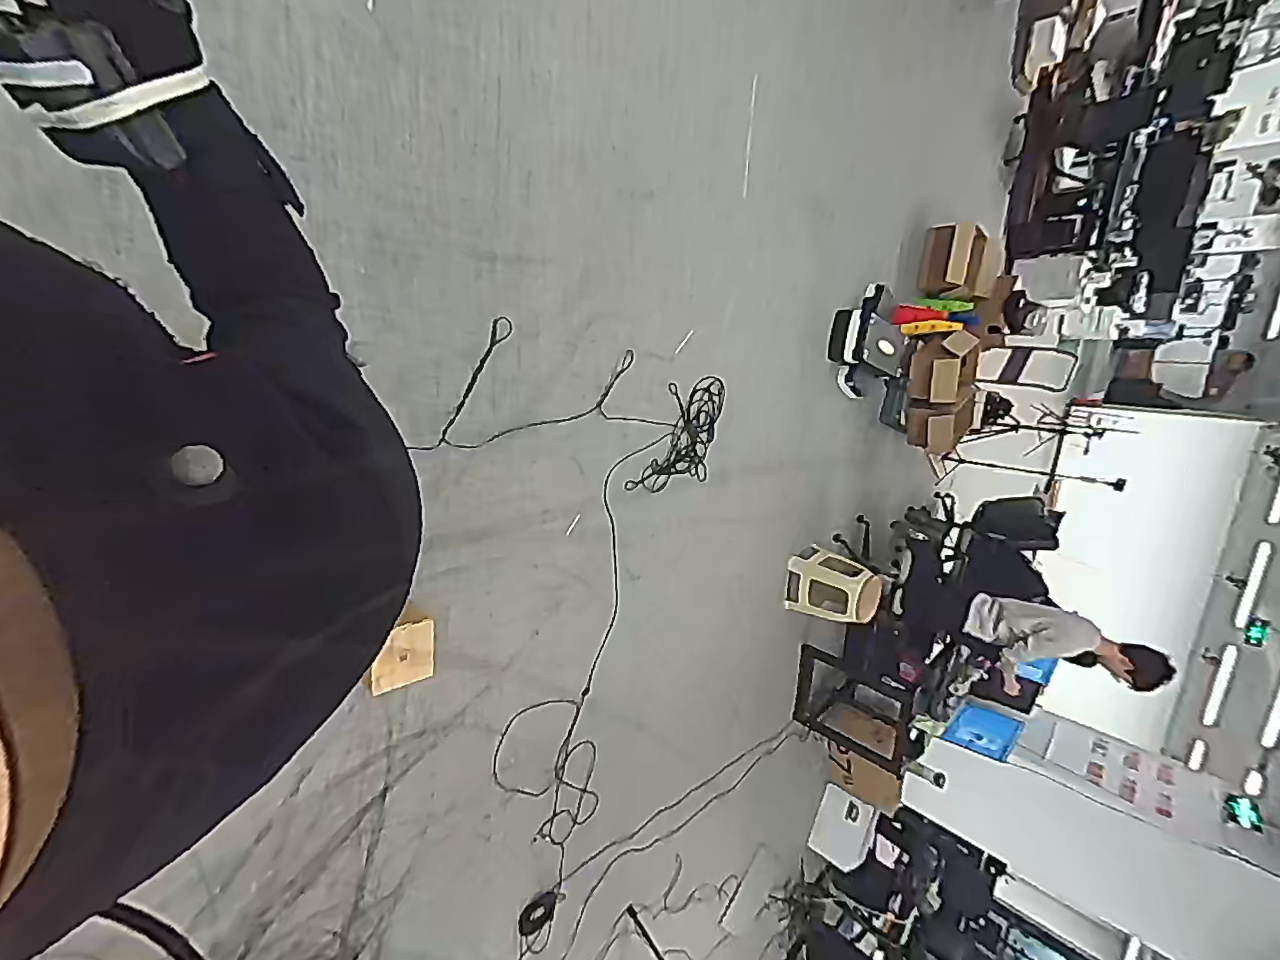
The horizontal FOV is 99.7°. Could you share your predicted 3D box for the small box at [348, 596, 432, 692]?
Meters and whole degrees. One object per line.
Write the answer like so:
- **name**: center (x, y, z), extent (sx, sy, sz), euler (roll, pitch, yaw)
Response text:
- **small box**: center (-0.690, 0.444, 1.490), extent (0.168, 0.176, 0.179), euler (-7, 106, -45)
